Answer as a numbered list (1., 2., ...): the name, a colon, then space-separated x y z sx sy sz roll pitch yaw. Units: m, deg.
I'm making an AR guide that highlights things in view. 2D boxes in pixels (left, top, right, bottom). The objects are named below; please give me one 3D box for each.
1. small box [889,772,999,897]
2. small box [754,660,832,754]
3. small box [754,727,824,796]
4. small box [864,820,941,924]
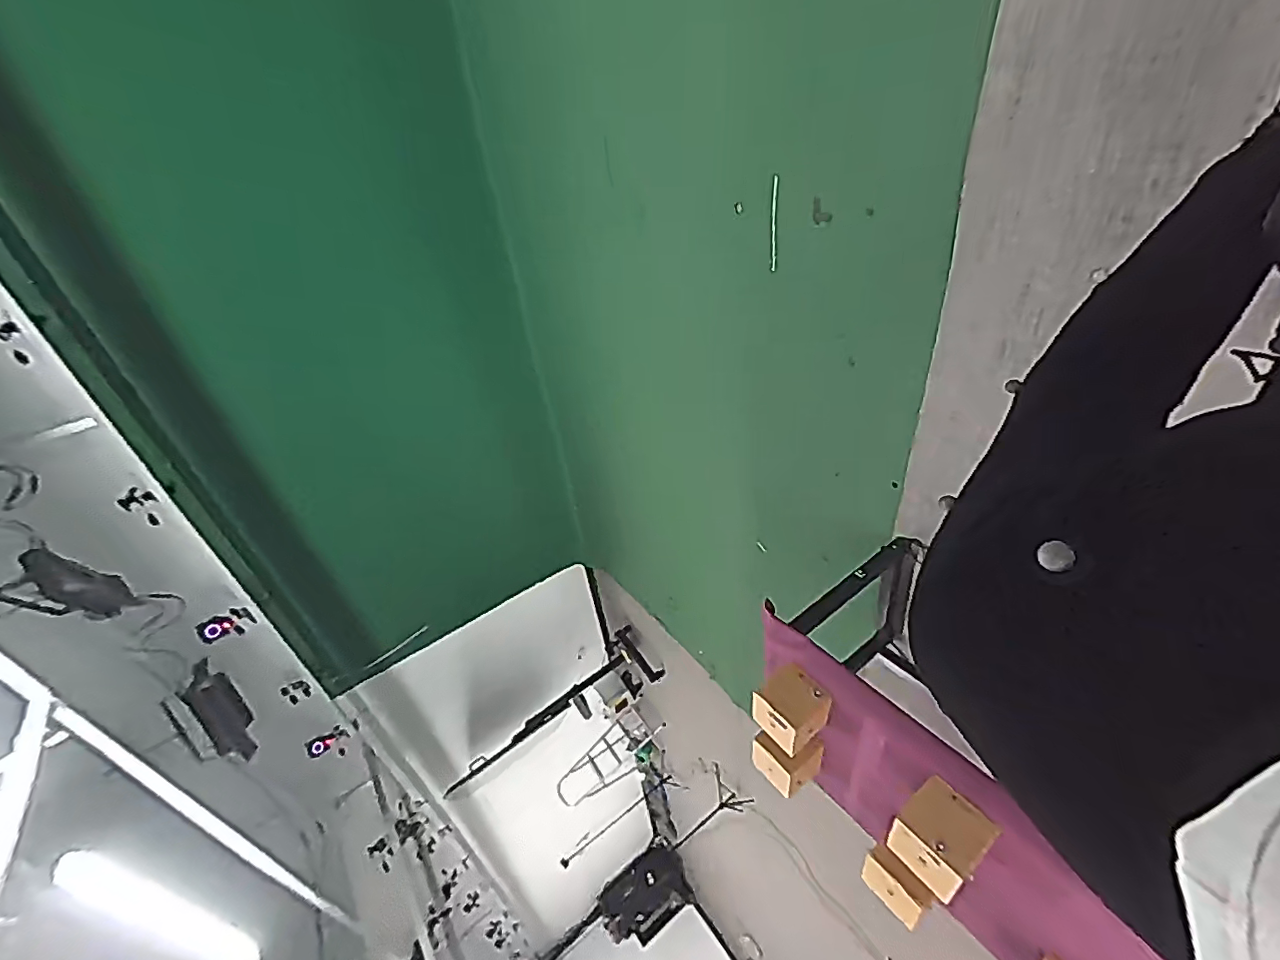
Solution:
1. small box: 0.756 0.878 1.349 0.168 0.176 0.179 35 146 43
2. small box: 0.477 0.703 1.688 0.168 0.176 0.179 37 147 40
3. small box: 0.512 0.934 1.862 0.168 0.176 0.179 34 143 43
4. small box: 0.776 1.112 1.556 0.168 0.176 0.179 34 143 45
